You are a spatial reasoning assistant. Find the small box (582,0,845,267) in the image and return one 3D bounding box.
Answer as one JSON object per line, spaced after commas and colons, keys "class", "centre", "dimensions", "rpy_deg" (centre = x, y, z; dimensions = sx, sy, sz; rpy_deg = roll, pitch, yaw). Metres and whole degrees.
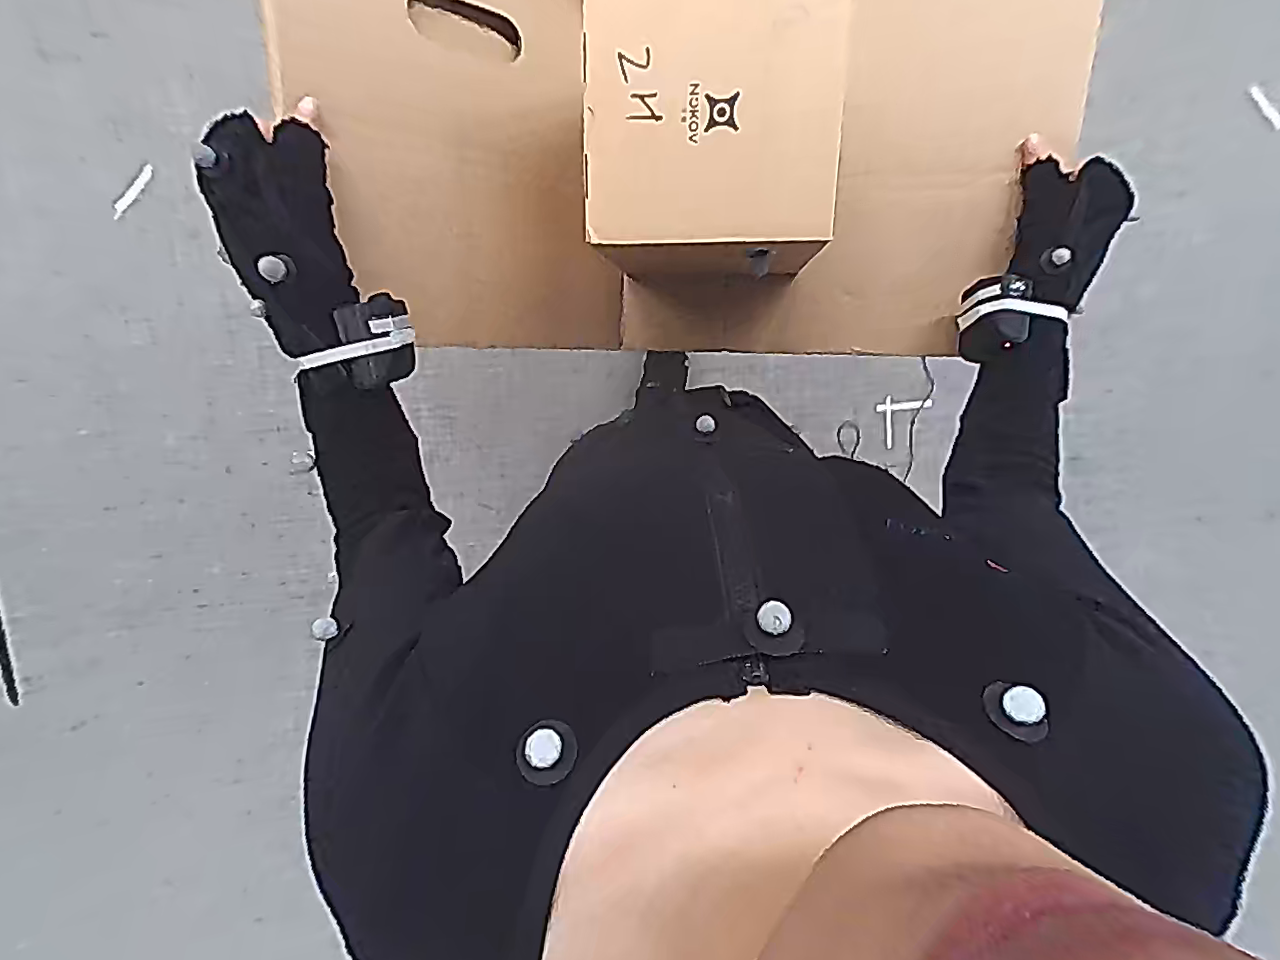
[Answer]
{"class": "small box", "centre": [0.056, -0.277, 0.448], "dimensions": [0.179, 0.176, 0.168], "rpy_deg": [3, 104, 9]}
